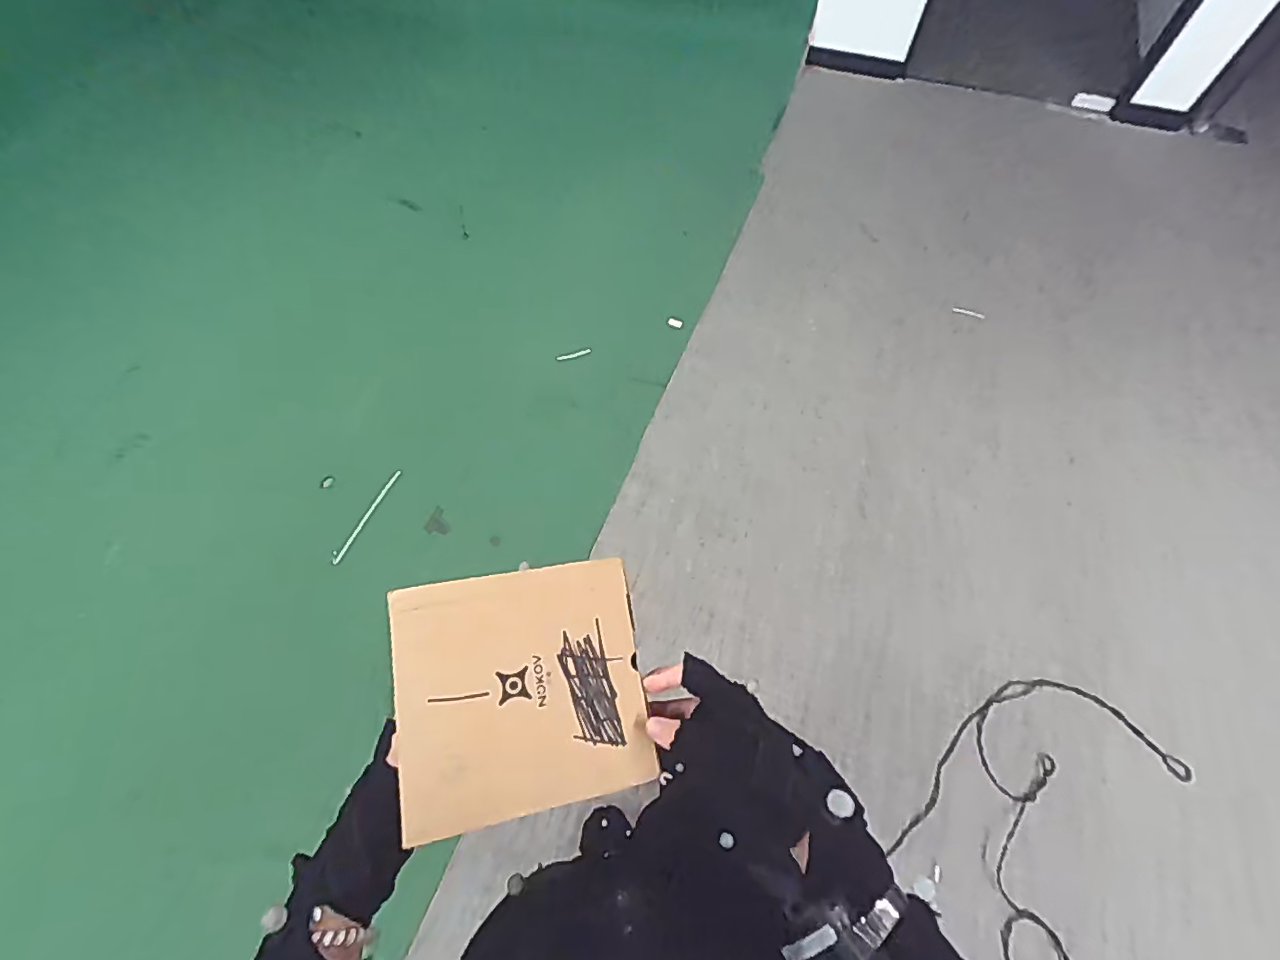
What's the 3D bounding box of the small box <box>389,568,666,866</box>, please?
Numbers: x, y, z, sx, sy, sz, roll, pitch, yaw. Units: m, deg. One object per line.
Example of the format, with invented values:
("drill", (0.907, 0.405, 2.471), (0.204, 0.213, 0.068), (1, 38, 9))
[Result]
("small box", (-0.097, 0.177, 0.450), (0.179, 0.176, 0.168), (-7, 73, -17))
